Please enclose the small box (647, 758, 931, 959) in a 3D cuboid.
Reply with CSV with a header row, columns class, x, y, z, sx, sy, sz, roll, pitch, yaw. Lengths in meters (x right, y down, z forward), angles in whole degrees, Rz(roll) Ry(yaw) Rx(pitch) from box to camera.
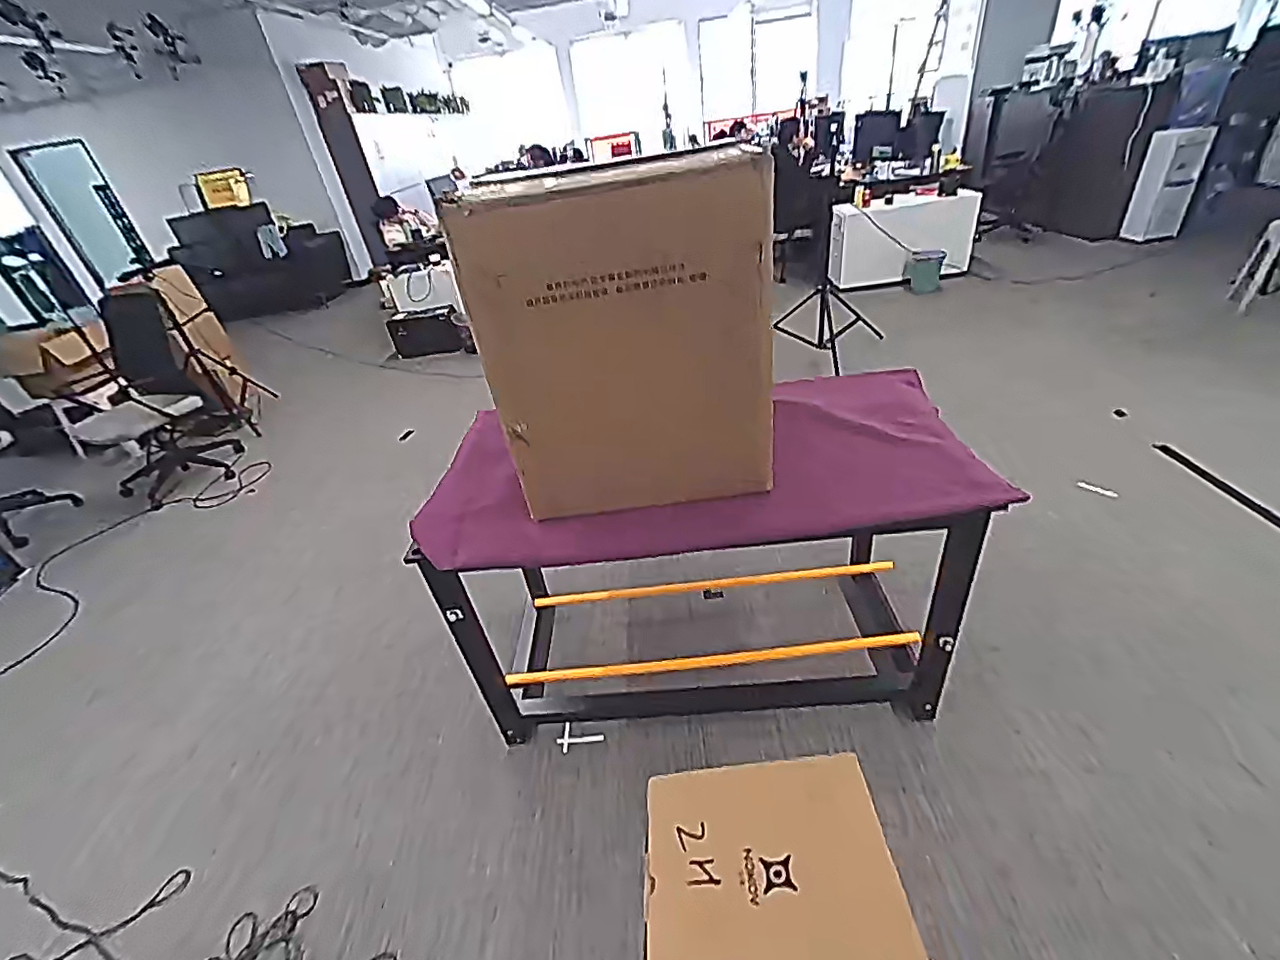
class,x,y,z,sx,sy,sz,roll,pitch,yaw
small box,0.108,0.346,0.411,0.179,0.176,0.168,-11,25,8
